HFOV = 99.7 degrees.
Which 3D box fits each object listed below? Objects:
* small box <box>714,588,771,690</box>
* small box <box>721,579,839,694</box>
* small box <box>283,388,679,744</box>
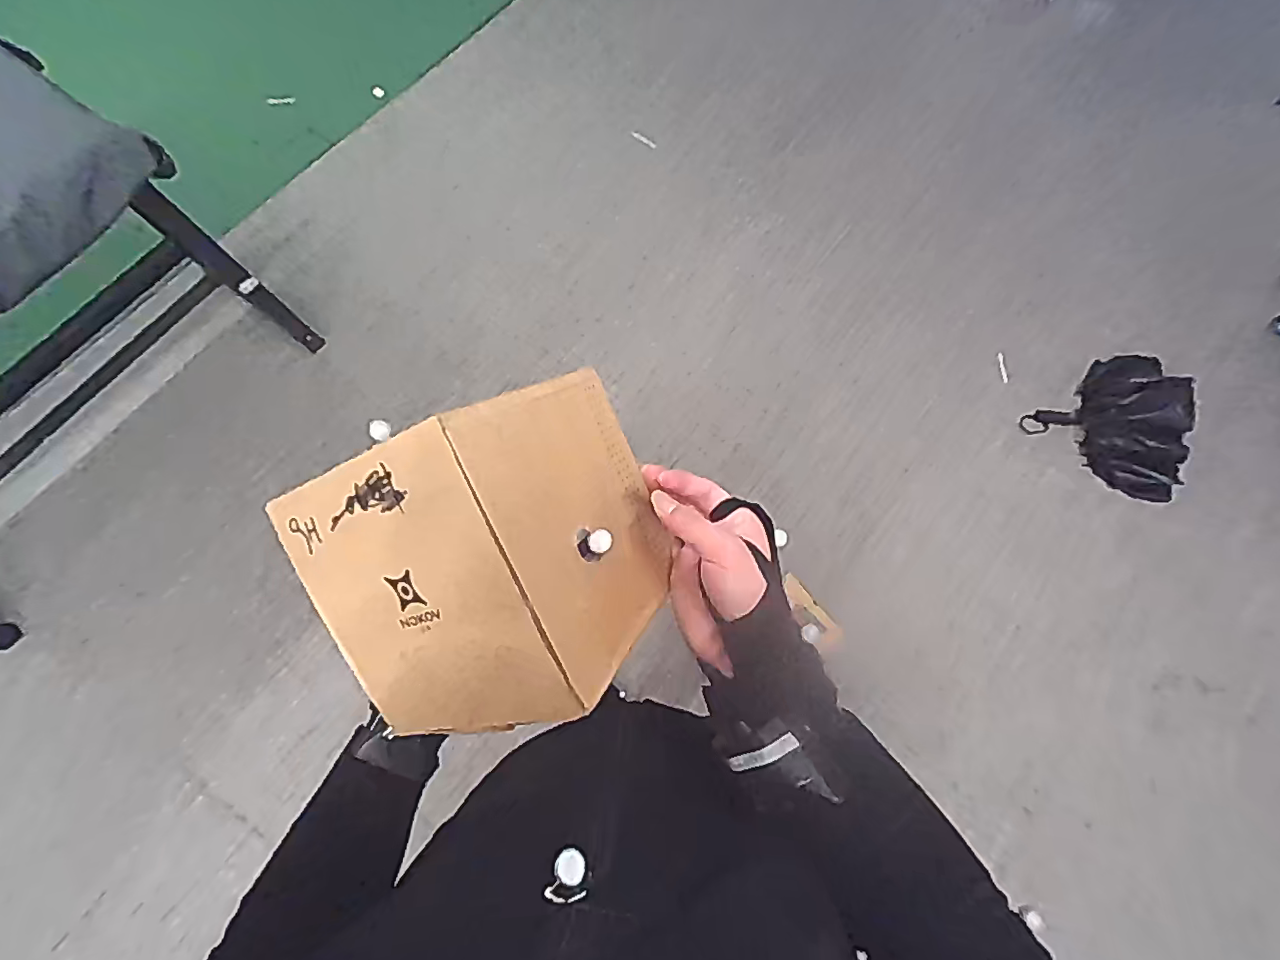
[{"bbox_3d":[0.300,0.395,1.347,0.179,0.176,0.168,-39,74,-9],"label":"small box"},{"bbox_3d":[0.296,0.344,1.190,0.179,0.176,0.168,-37,74,-10],"label":"small box"},{"bbox_3d":[-0.092,0.054,0.385,0.168,0.176,0.179,-18,102,28],"label":"small box"}]
